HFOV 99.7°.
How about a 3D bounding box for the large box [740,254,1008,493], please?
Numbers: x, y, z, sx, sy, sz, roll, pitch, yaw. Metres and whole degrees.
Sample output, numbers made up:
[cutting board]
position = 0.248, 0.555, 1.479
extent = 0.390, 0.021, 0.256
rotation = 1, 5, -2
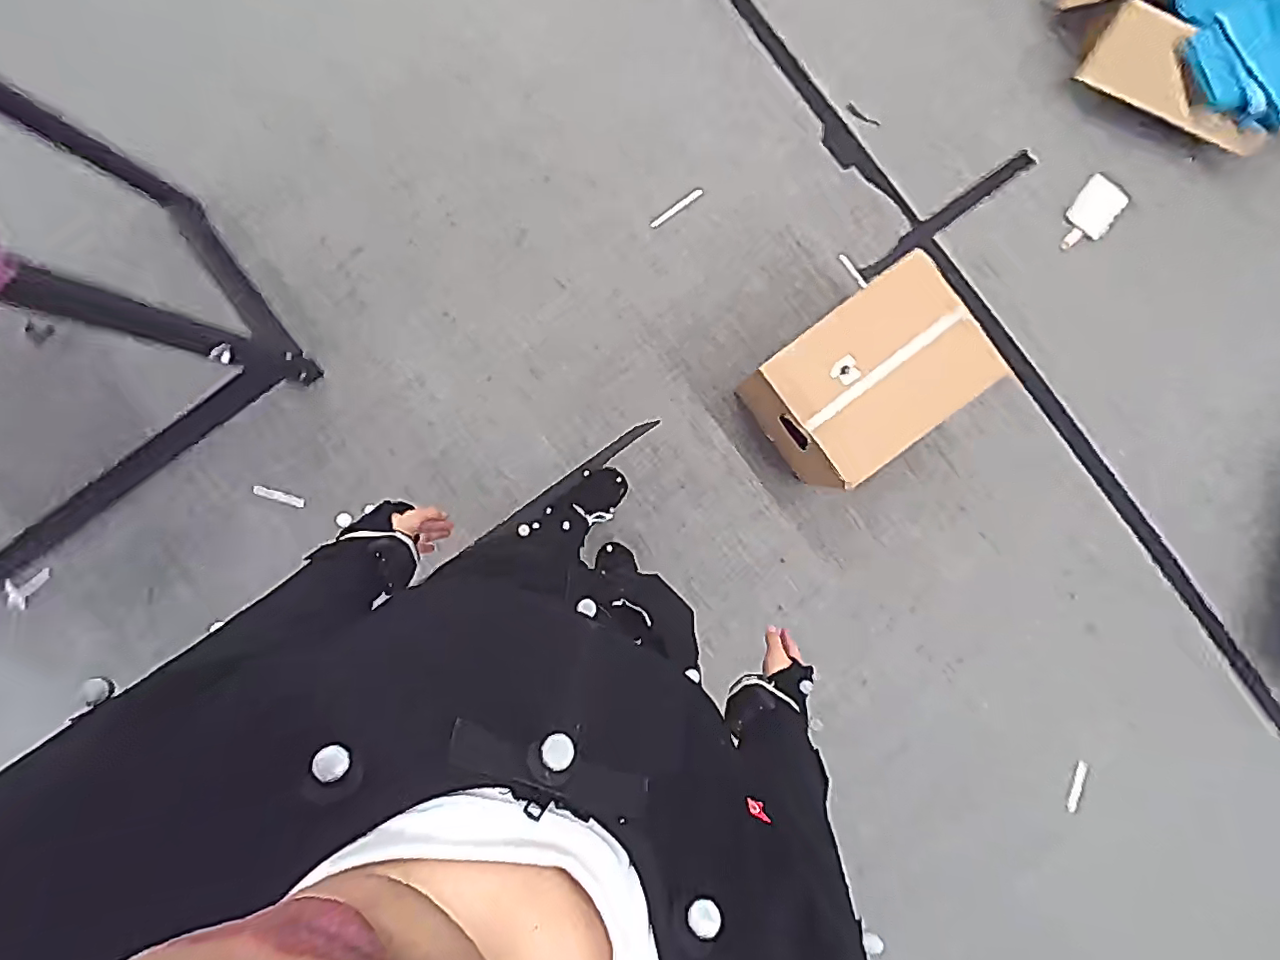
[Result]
[large box]
position = 0.495, -0.219, 1.230
extent = 0.408, 0.320, 0.320
rotation = -37, 90, 2
